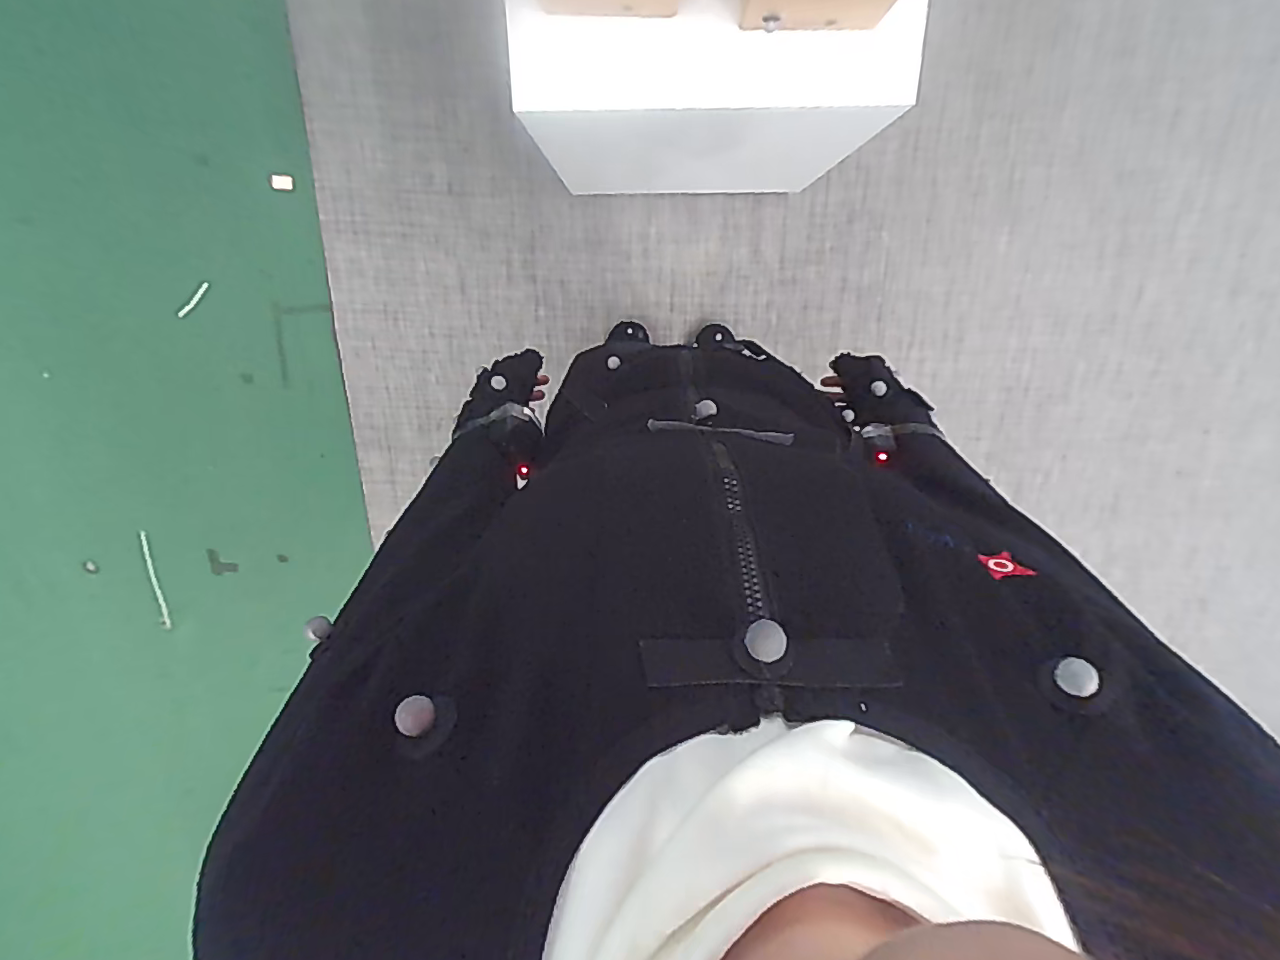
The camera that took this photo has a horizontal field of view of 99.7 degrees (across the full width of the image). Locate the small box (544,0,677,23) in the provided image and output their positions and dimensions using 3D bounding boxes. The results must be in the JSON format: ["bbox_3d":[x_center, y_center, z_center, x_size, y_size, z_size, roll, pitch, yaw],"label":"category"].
[{"bbox_3d":[-0.036,-0.621,0.555,0.168,0.176,0.179,3,106,1],"label":"small box"}]

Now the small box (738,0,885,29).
[{"bbox_3d":[0.197,-0.604,0.555,0.168,0.176,0.179,1,106,1],"label":"small box"}]
